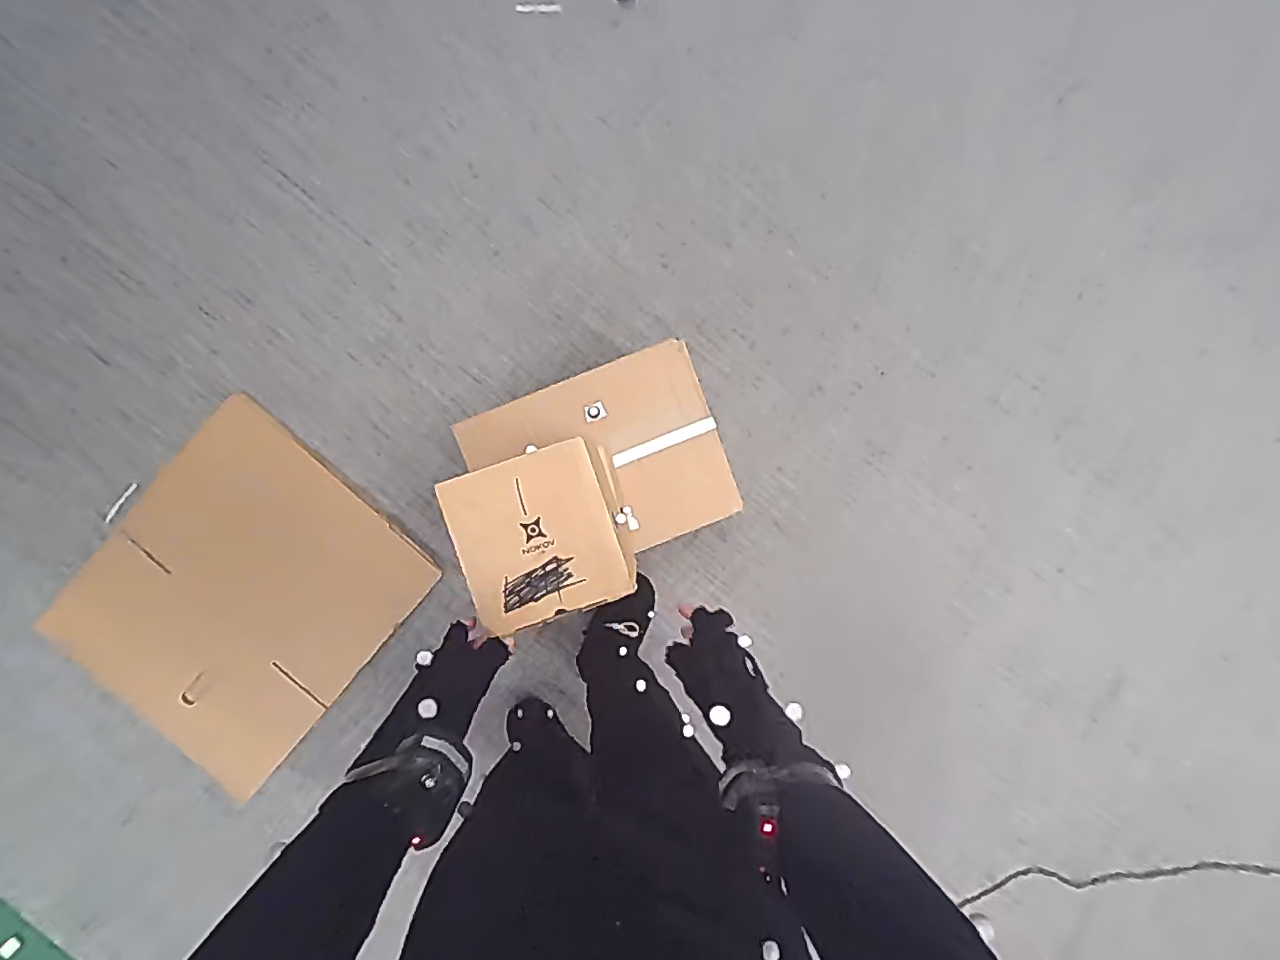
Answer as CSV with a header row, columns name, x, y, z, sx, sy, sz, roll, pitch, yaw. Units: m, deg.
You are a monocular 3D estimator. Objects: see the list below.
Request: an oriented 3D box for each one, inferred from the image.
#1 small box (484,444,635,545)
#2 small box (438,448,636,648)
name,x,y,z,sx,sy,sz,roll,pitch,yaw
small box,-0.111,0.053,0.821,0.179,0.176,0.168,-17,89,0
small box,-0.108,0.068,0.654,0.168,0.176,0.179,-22,92,1
